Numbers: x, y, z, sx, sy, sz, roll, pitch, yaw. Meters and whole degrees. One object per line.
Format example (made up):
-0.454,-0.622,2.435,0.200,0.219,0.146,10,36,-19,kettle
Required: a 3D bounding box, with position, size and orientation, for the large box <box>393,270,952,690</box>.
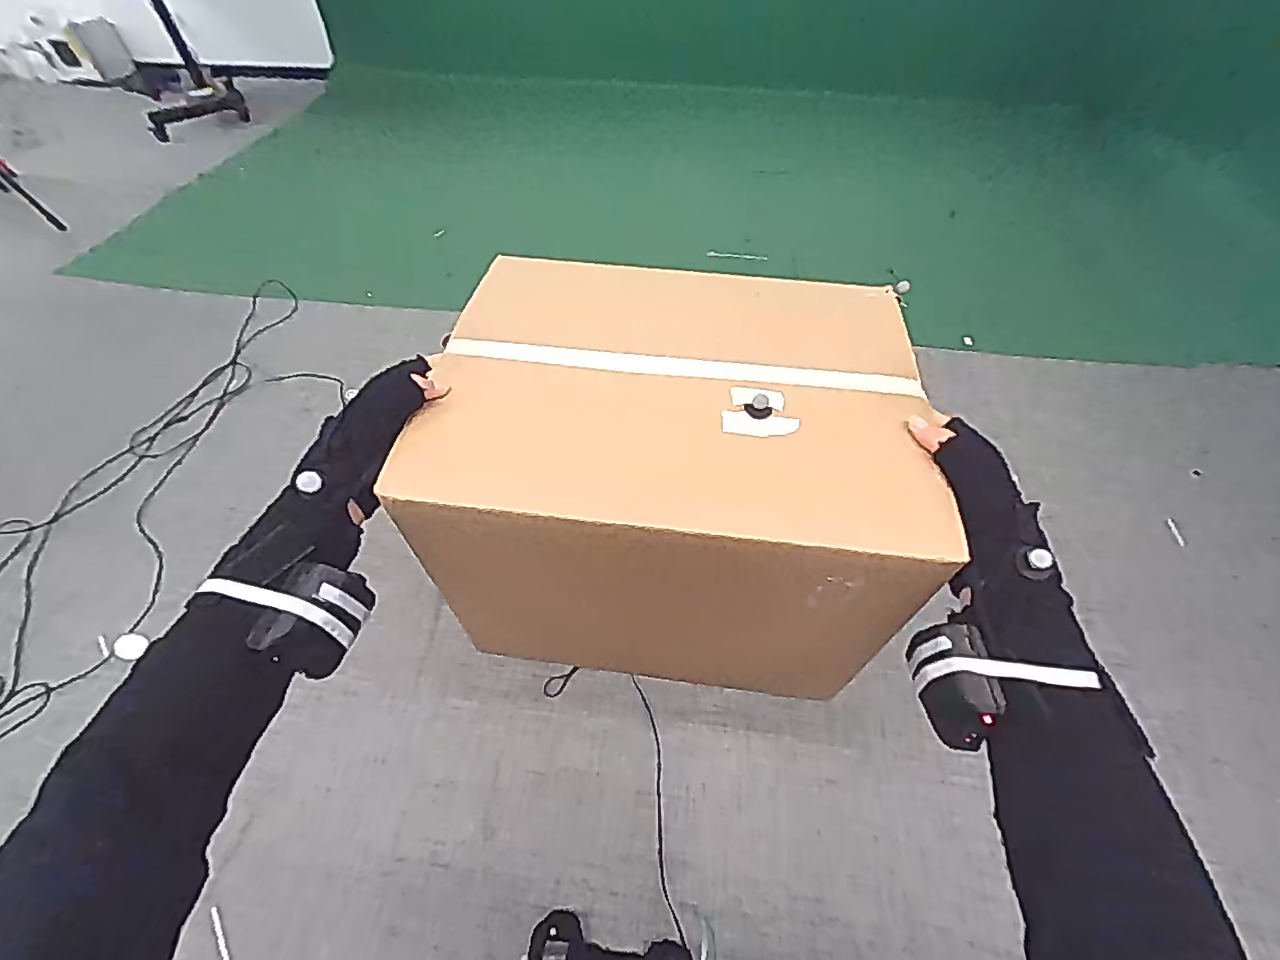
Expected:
0.030,0.007,0.583,0.408,0.320,0.320,6,53,4,large box
